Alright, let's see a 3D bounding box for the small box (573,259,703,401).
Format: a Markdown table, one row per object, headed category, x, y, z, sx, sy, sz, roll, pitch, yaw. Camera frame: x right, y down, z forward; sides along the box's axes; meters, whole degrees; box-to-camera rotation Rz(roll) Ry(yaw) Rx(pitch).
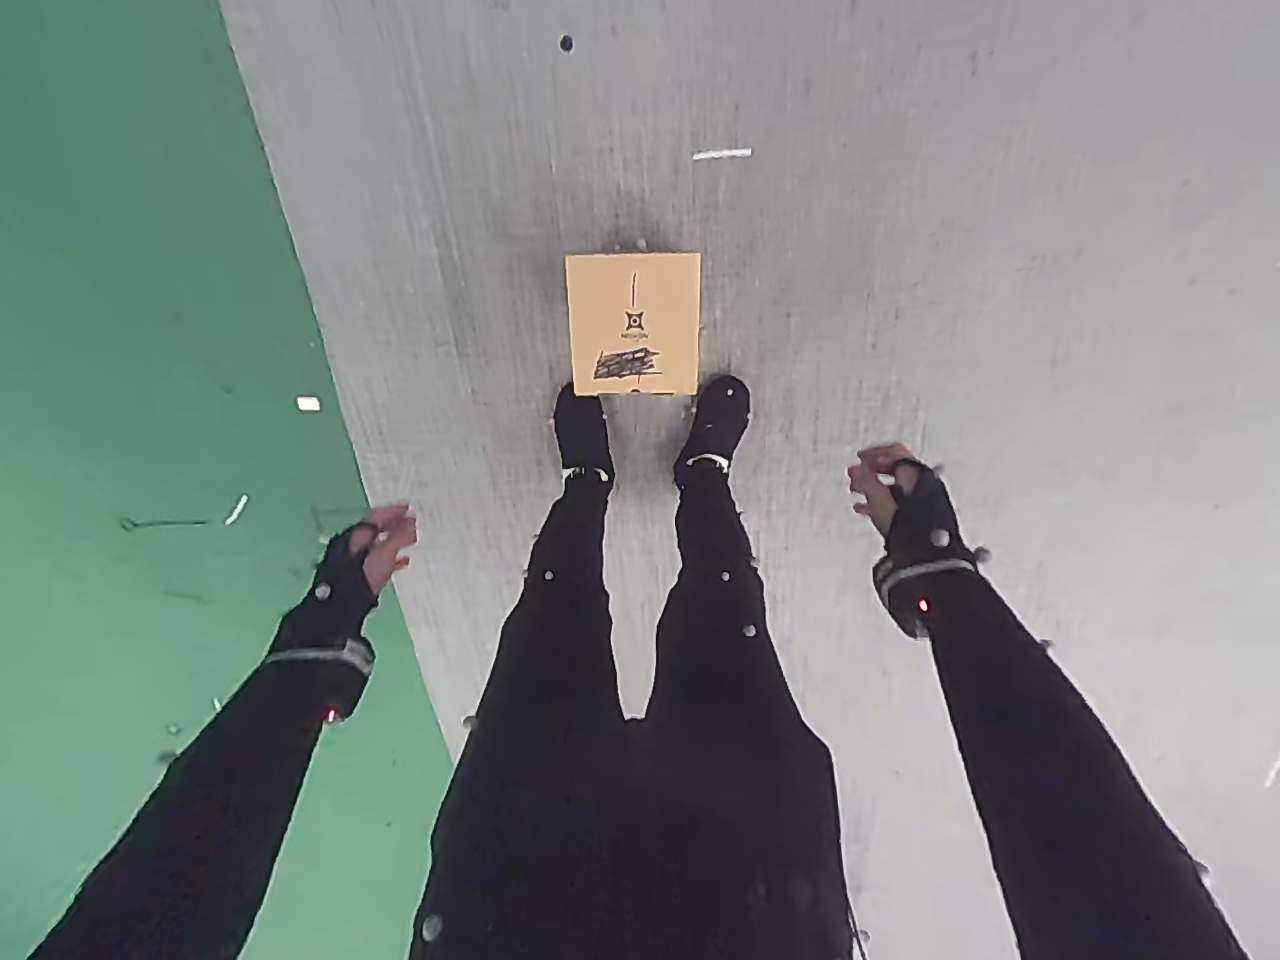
| category | x | y | z | sx | sy | sz | roll | pitch | yaw |
| --- | --- | --- | --- | --- | --- | --- | --- | --- | --- |
| small box | 0.000 | -0.221 | 0.779 | 0.168 | 0.176 | 0.179 | 0 | 113 | 1 |
